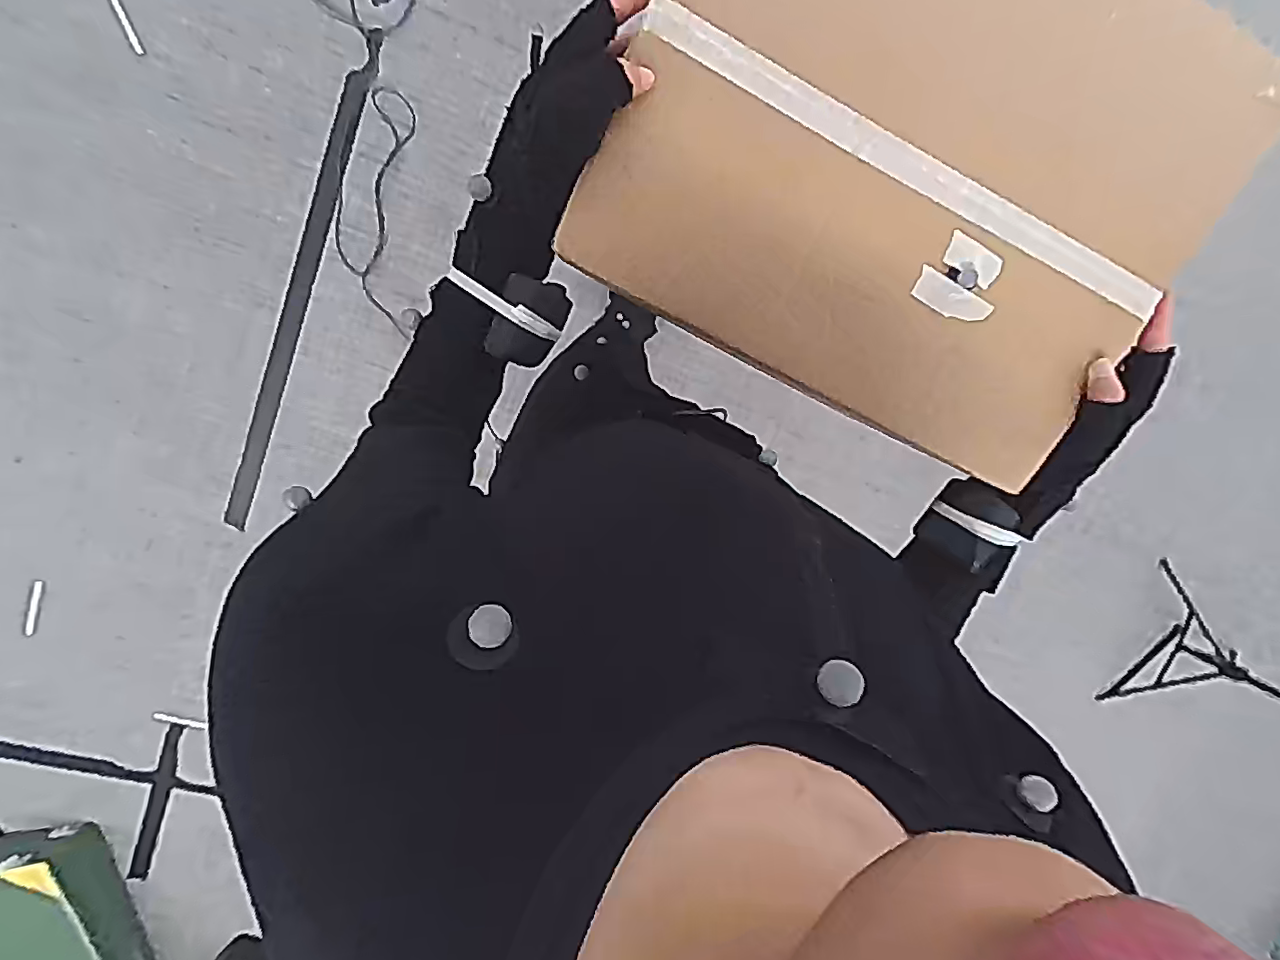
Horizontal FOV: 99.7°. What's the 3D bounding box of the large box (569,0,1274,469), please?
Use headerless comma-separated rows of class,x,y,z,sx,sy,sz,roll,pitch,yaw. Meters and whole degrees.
large box,0.187,-0.263,0.523,0.408,0.320,0.320,26,106,-8
